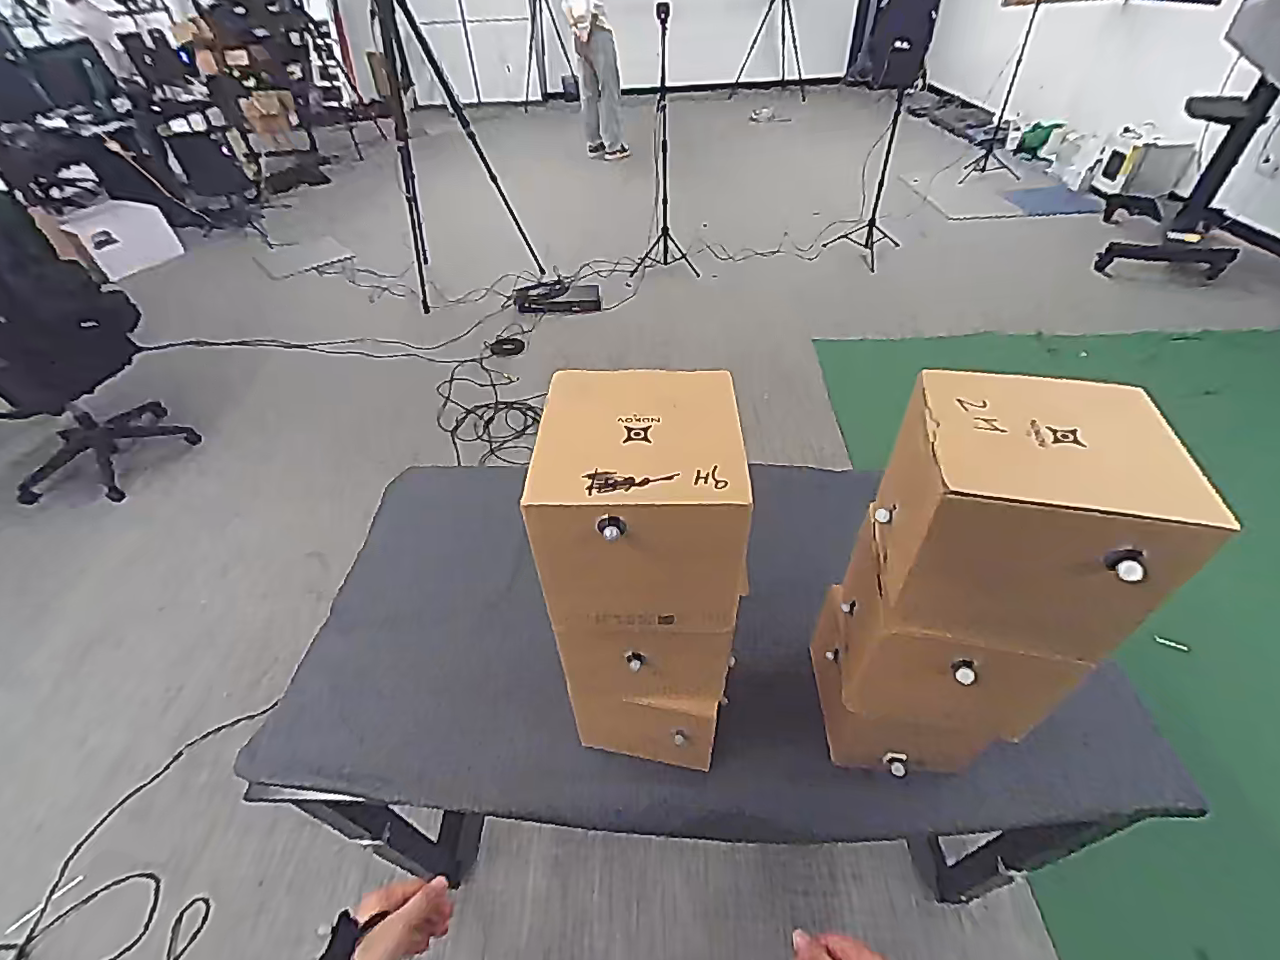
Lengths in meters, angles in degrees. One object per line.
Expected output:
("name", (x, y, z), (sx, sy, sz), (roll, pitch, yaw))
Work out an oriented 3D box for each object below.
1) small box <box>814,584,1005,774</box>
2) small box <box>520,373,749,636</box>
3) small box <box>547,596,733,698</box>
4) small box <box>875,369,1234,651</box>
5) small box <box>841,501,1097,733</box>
("small box", (0.332, 0.255, 0.700), (0.168, 0.176, 0.179), (-1, 44, 4))
("small box", (0.001, 0.019, 0.494), (0.168, 0.176, 0.179), (0, 43, 3))
("small box", (0.007, 0.132, 0.613), (0.179, 0.176, 0.168), (-1, 43, 4))
("small box", (0.317, 0.025, 0.467), (0.179, 0.176, 0.168), (7, 44, 14))
("small box", (0.323, 0.147, 0.578), (0.179, 0.176, 0.168), (6, 44, 13))
